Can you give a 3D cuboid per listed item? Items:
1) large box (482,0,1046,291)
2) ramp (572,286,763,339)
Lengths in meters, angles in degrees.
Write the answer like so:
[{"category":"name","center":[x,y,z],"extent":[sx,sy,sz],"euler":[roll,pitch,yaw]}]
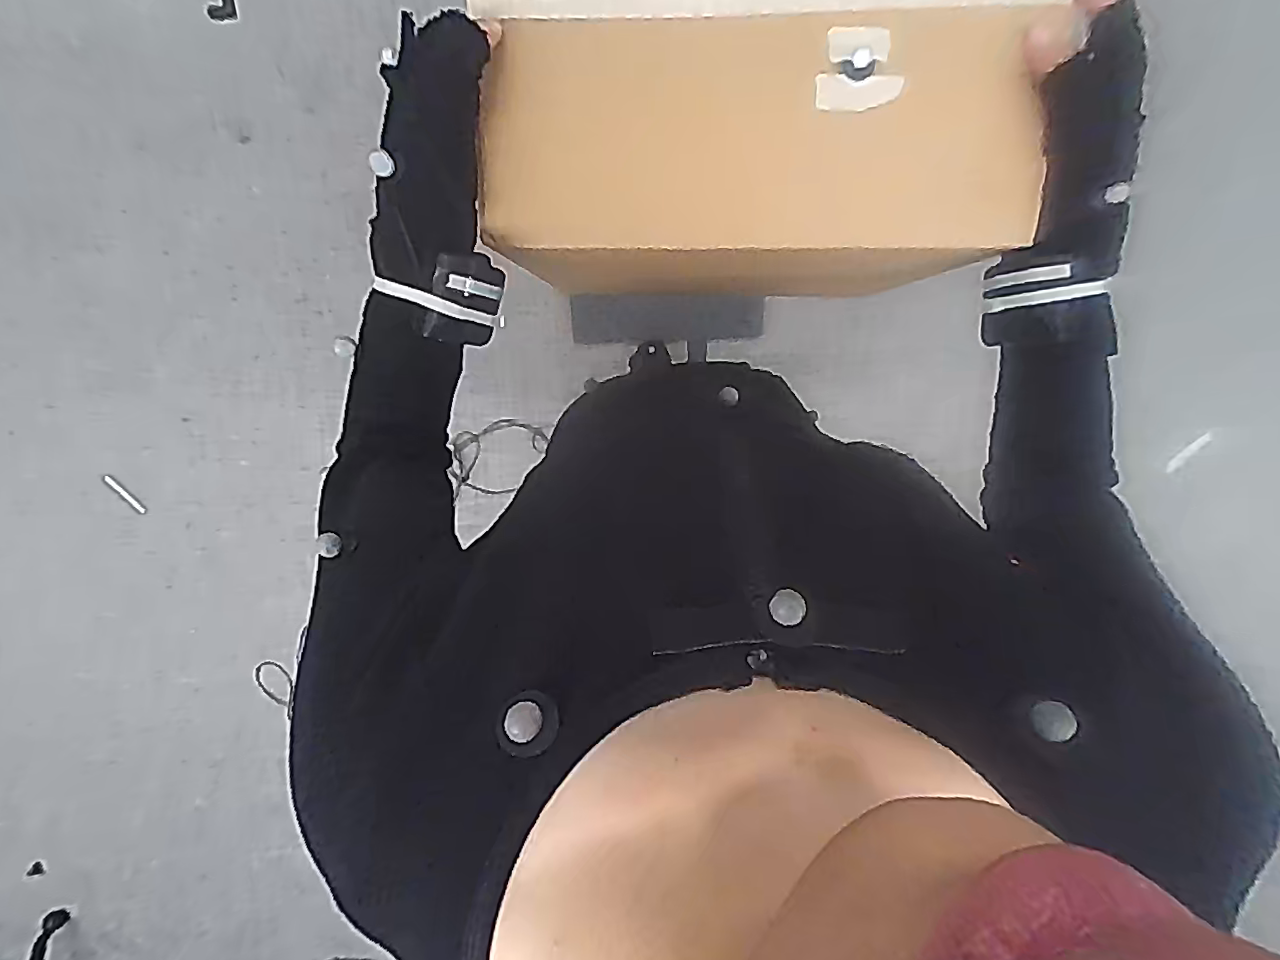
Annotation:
[{"category":"large box","center":[0.087,-0.369,0.526],"extent":[0.408,0.320,0.320],"euler":[1,103,2]},{"category":"ramp","center":[0.053,-0.843,1.232],"extent":[0.509,0.206,0.991],"euler":[-4,101,1]}]
